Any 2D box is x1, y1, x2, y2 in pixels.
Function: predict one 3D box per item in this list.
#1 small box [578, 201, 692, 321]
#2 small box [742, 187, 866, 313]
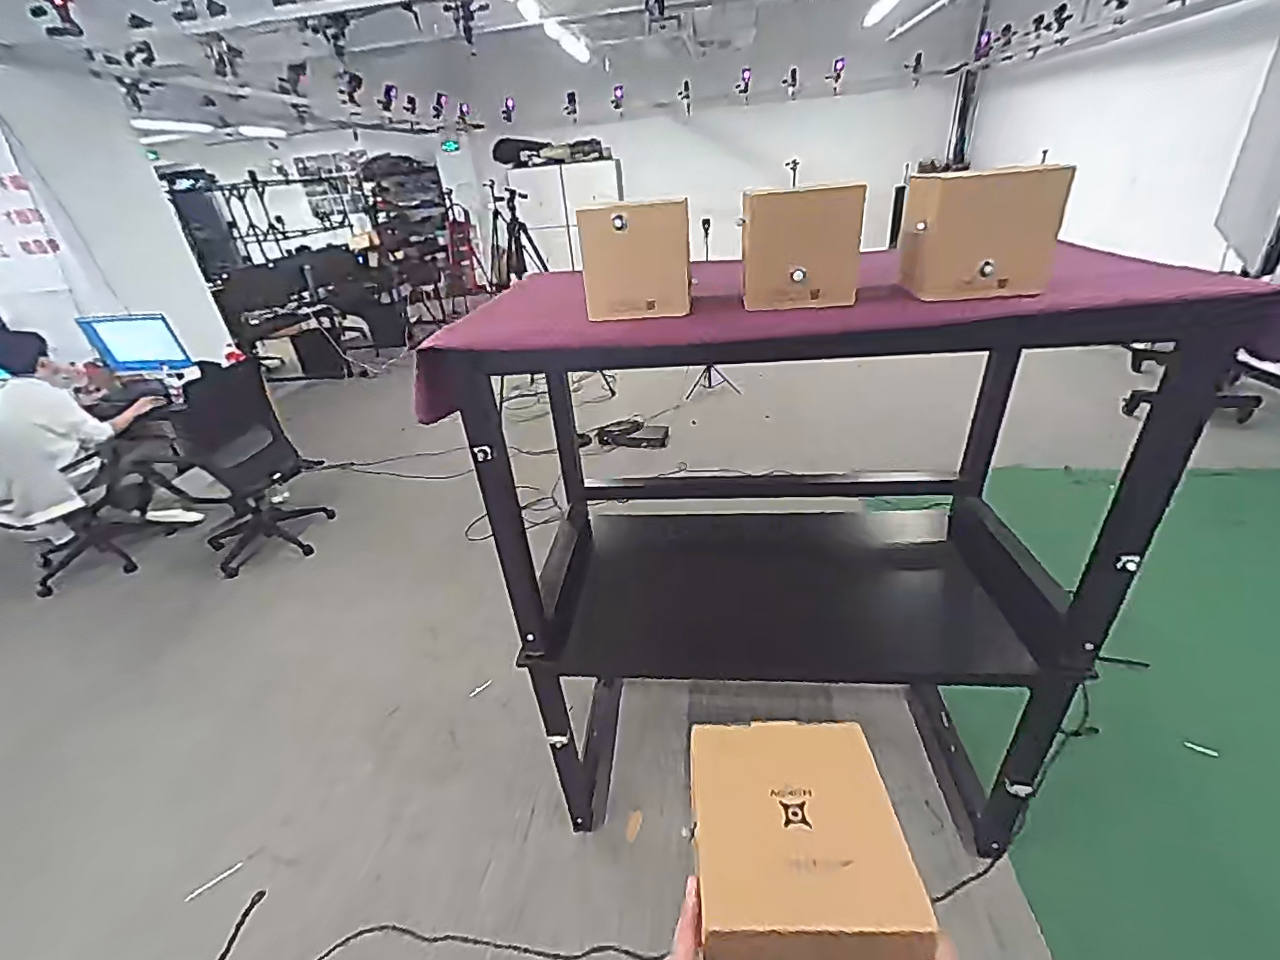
[{"bbox_3d":[0.000,-0.367,0.907,0.168,0.176,0.179,-2,28,7],"label":"small box"},{"bbox_3d":[0.251,-0.372,0.875,0.168,0.176,0.179,-1,29,8],"label":"small box"}]
